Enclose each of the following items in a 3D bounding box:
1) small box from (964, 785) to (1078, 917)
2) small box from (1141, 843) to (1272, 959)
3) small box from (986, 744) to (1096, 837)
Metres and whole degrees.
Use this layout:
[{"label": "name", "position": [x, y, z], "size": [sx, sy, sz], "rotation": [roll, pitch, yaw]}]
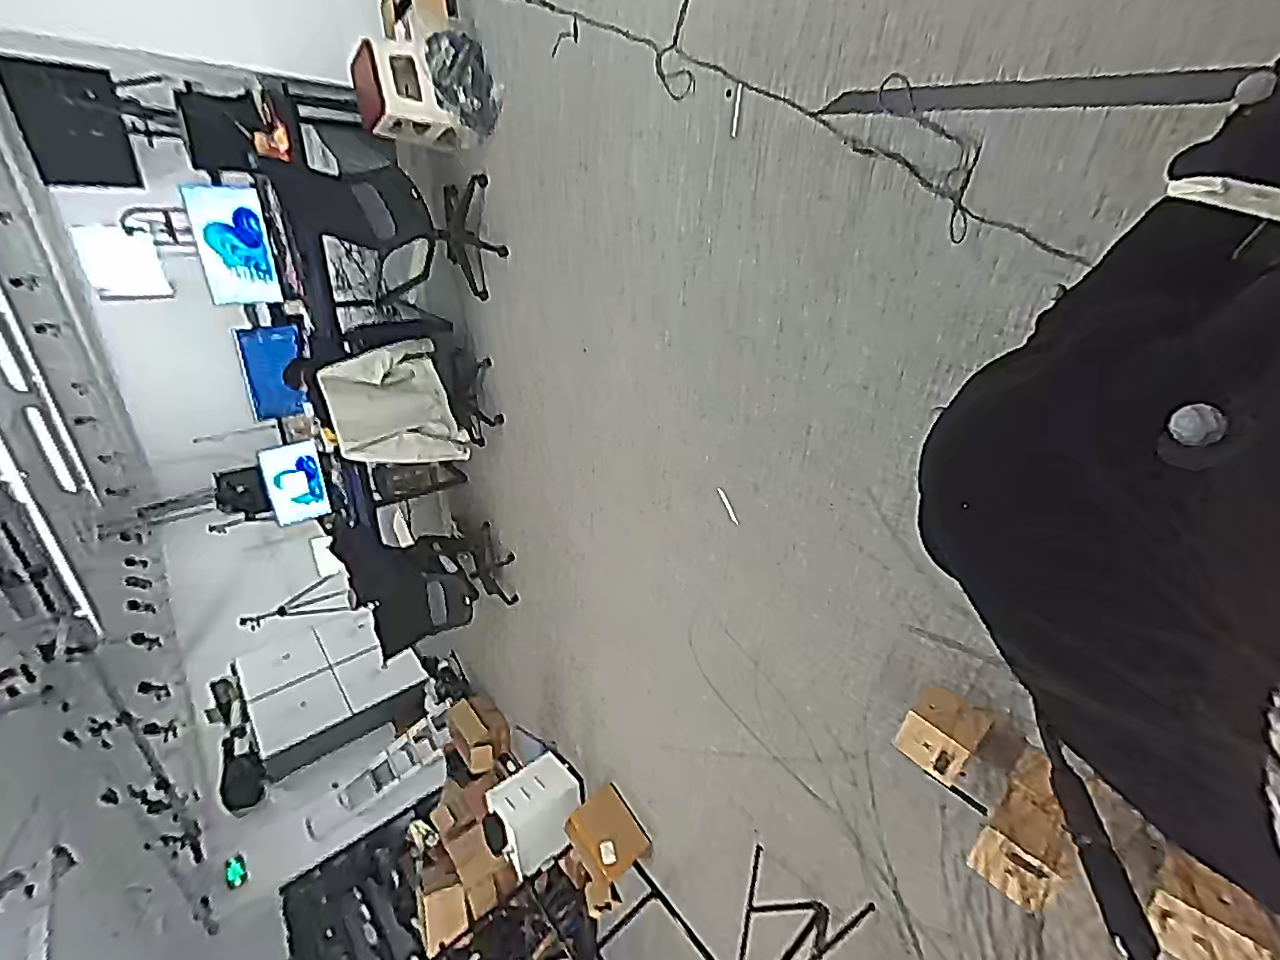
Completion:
[{"label": "small box", "position": [0.946, 0.907, 1.339], "size": [0.168, 0.176, 0.179], "rotation": [30, 128, 40]}, {"label": "small box", "position": [1.286, 0.985, 1.230], "size": [0.179, 0.176, 0.168], "rotation": [16, 117, 46]}, {"label": "small box", "position": [1.067, 0.852, 1.436], "size": [0.168, 0.176, 0.179], "rotation": [33, 129, 38]}]
